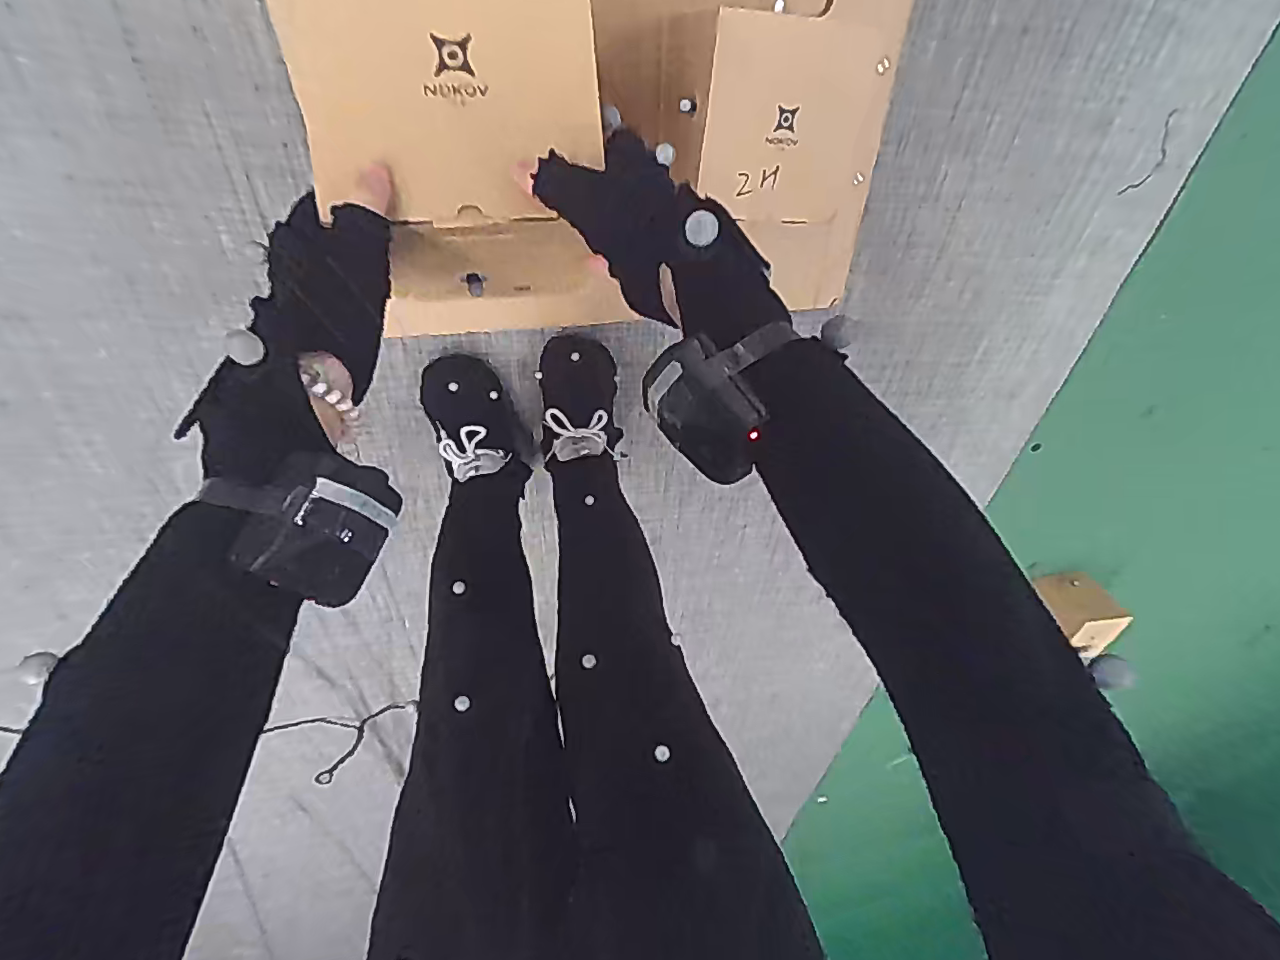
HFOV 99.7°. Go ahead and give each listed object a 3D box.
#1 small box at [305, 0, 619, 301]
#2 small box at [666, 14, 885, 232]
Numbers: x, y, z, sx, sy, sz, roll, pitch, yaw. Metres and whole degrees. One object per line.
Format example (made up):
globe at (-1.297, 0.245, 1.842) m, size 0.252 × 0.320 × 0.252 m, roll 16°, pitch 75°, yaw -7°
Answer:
small box at (-0.112, -0.239, 0.387) m, size 0.168 × 0.176 × 0.179 m, roll -6°, pitch 96°, yaw -9°
small box at (0.131, -0.395, 0.605) m, size 0.168 × 0.176 × 0.179 m, roll -2°, pitch 129°, yaw -11°
